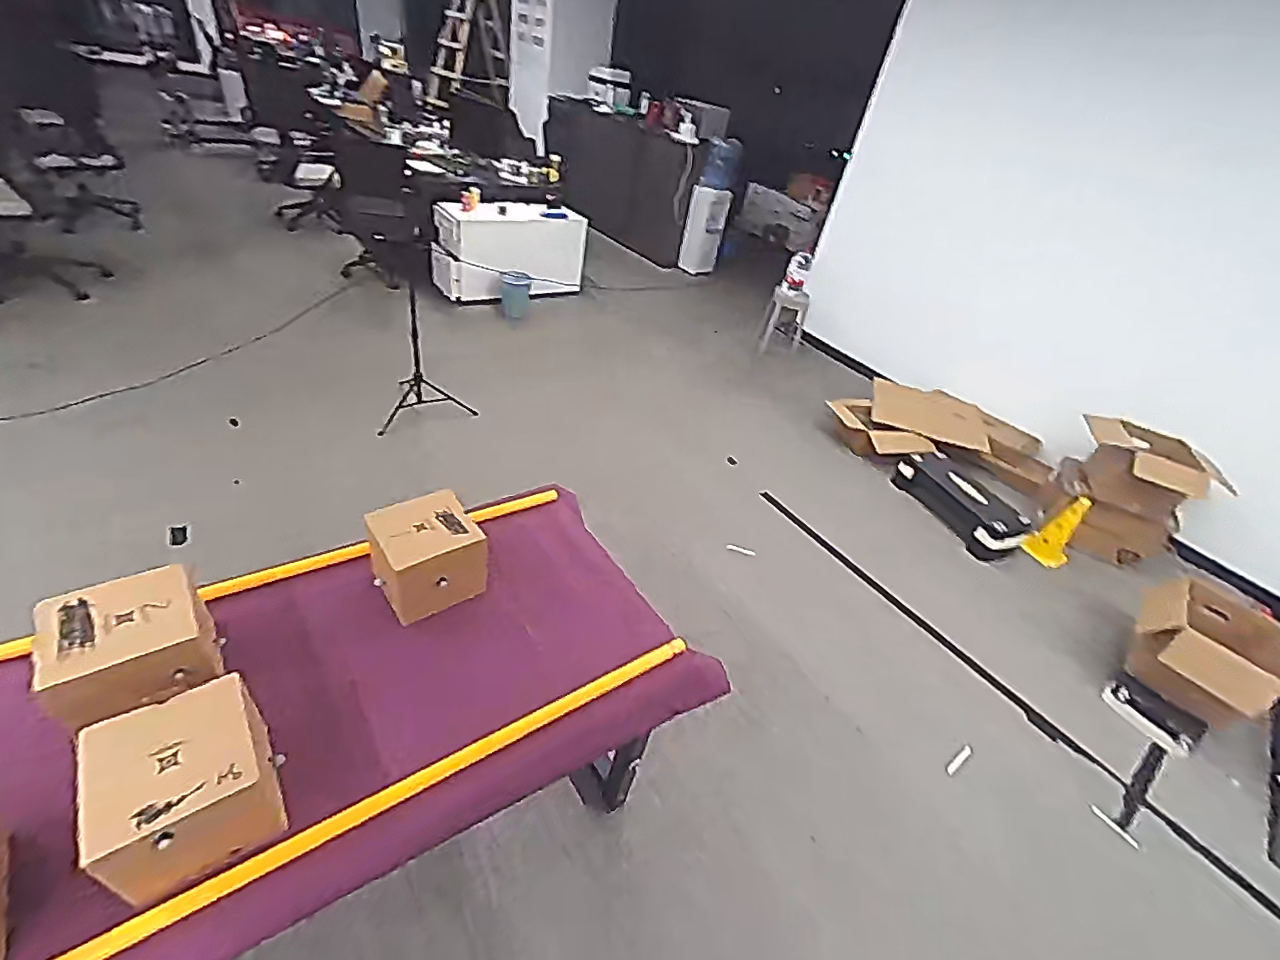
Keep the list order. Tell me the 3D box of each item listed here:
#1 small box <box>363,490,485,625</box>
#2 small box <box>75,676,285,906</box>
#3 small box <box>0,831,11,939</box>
[{"bbox_3d":[-0.427,0.154,1.081,0.179,0.176,0.168,-21,50,-34],"label":"small box"},{"bbox_3d":[-0.595,0.405,0.714,0.168,0.176,0.179,-19,47,-33],"label":"small box"},{"bbox_3d":[-0.824,0.470,0.567,0.179,0.176,0.168,-19,47,-34],"label":"small box"}]
